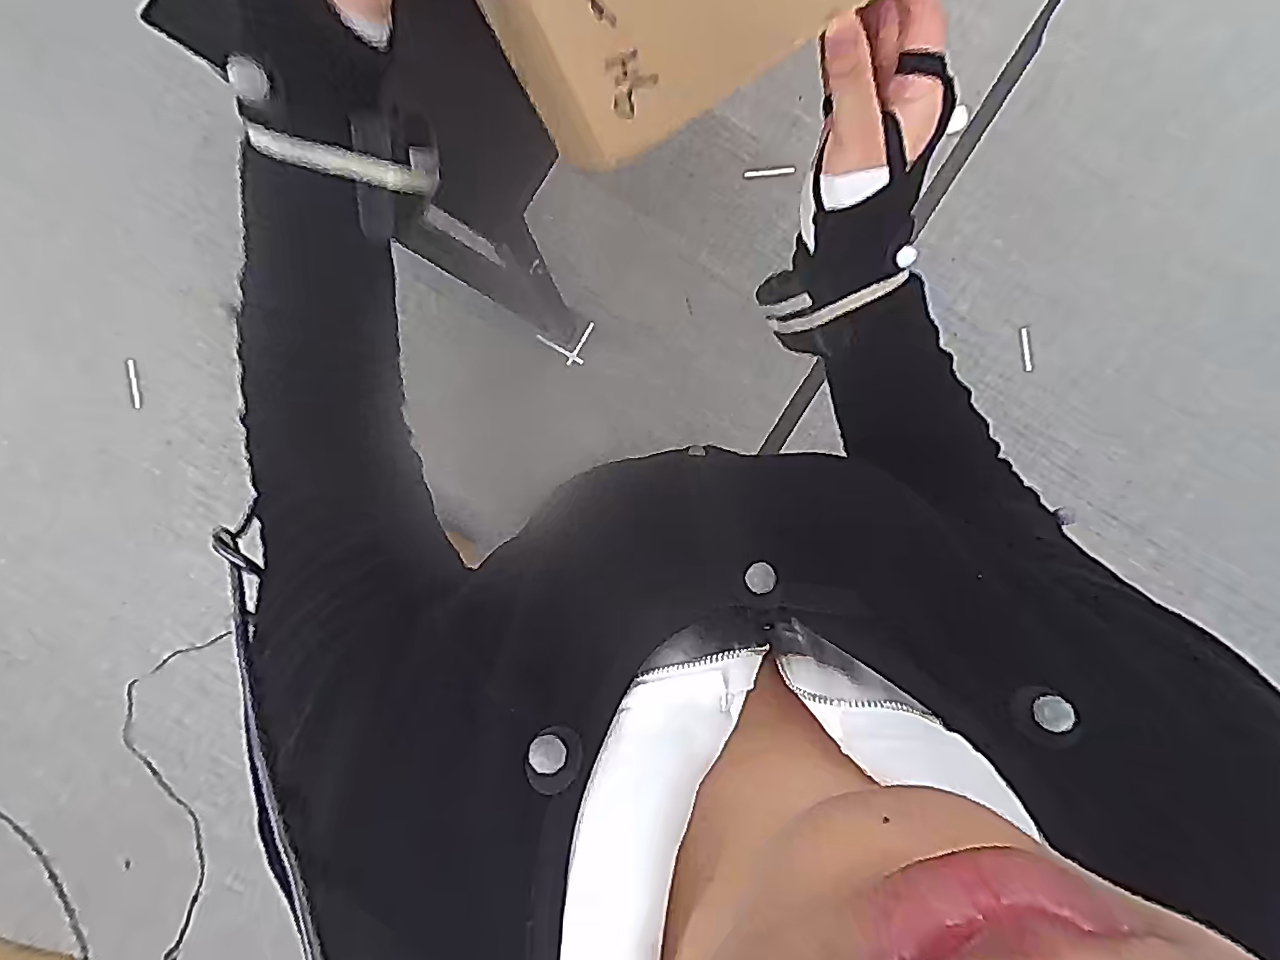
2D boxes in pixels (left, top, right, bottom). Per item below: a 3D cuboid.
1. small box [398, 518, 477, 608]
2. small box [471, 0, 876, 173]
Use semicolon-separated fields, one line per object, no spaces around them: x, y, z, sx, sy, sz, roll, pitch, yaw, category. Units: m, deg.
-0.564;0.211;1.435;0.179;0.176;0.168;28;91;-1;small box
0.000;-0.301;0.302;0.179;0.176;0.168;-34;122;3;small box
